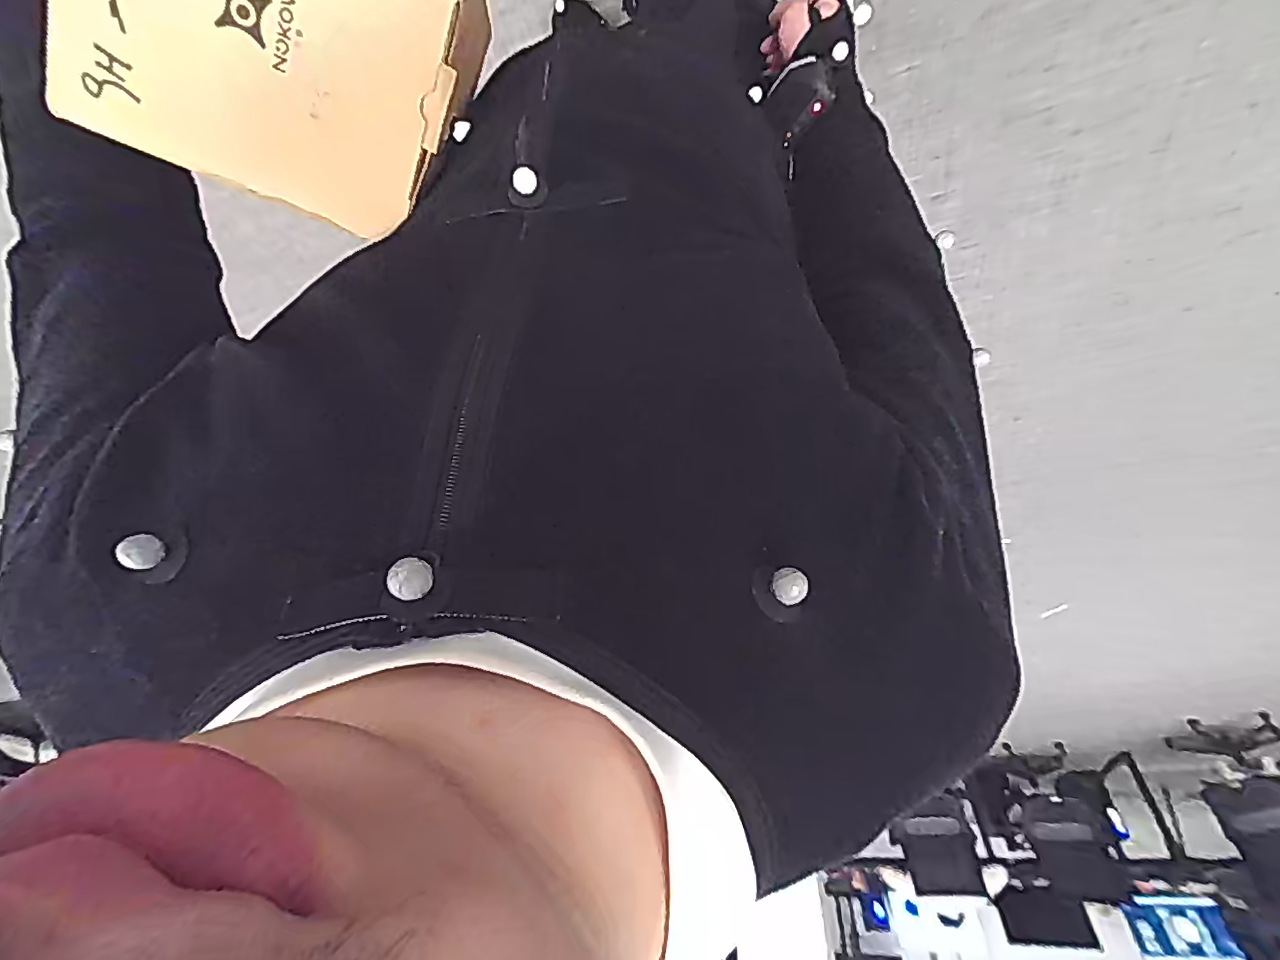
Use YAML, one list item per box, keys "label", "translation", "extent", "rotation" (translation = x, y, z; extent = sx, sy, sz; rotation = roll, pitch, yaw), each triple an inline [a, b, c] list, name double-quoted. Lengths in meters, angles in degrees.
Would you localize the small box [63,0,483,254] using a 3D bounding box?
- label: "small box"
  translation: [-0.211, -0.271, 0.356]
  extent: [0.179, 0.176, 0.168]
  rotation: [16, 111, -21]
